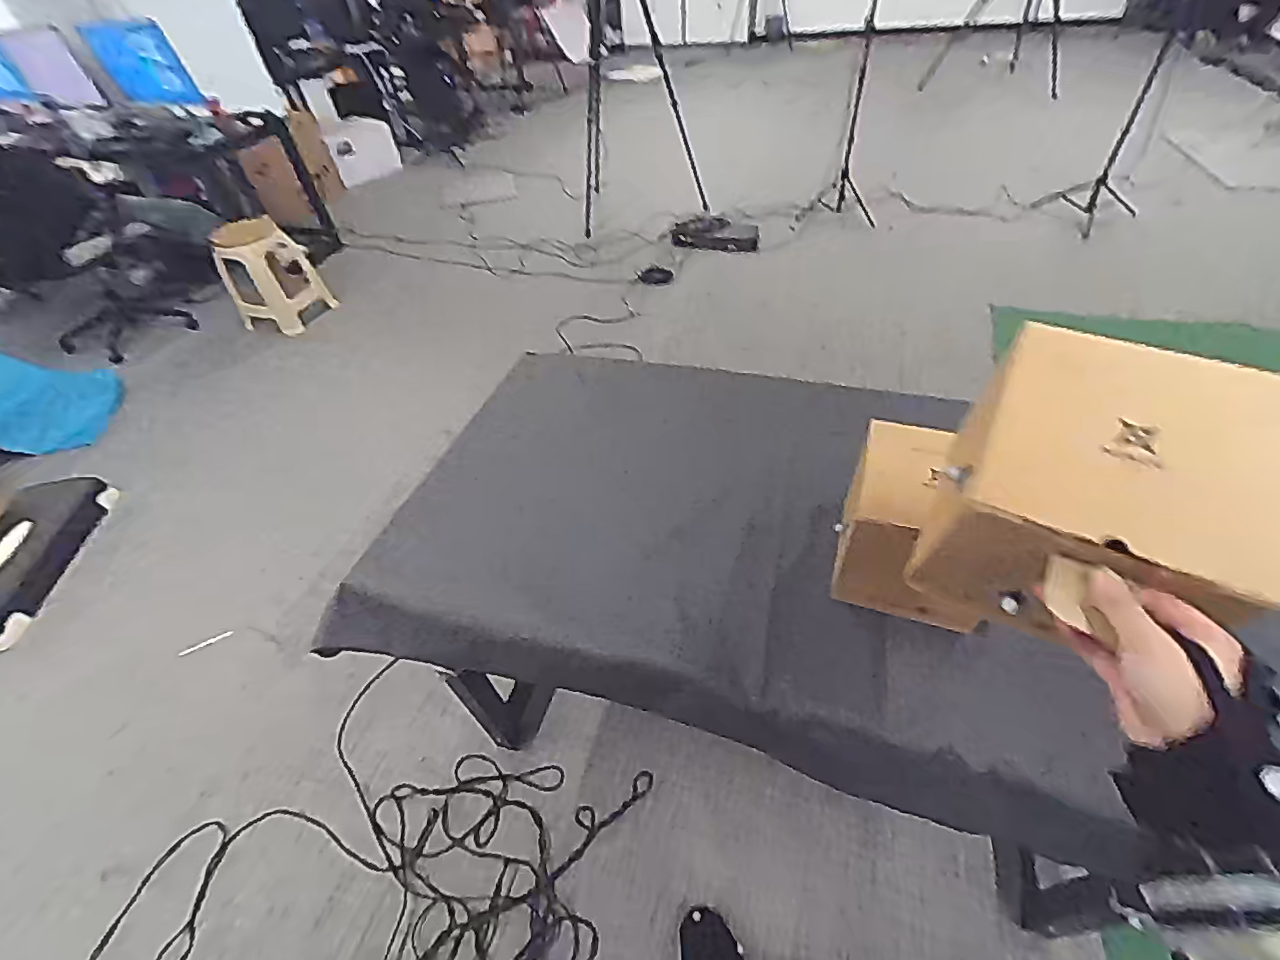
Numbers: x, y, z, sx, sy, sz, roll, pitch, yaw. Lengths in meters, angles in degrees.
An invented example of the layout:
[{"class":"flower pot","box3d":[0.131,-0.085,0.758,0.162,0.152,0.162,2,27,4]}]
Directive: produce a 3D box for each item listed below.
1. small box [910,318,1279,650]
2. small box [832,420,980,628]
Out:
[{"class":"small box","box3d":[0.339,0.009,0.433,0.168,0.176,0.179,22,67,21]},{"class":"small box","box3d":[0.344,0.055,0.673,0.168,0.176,0.179,13,48,16]}]
